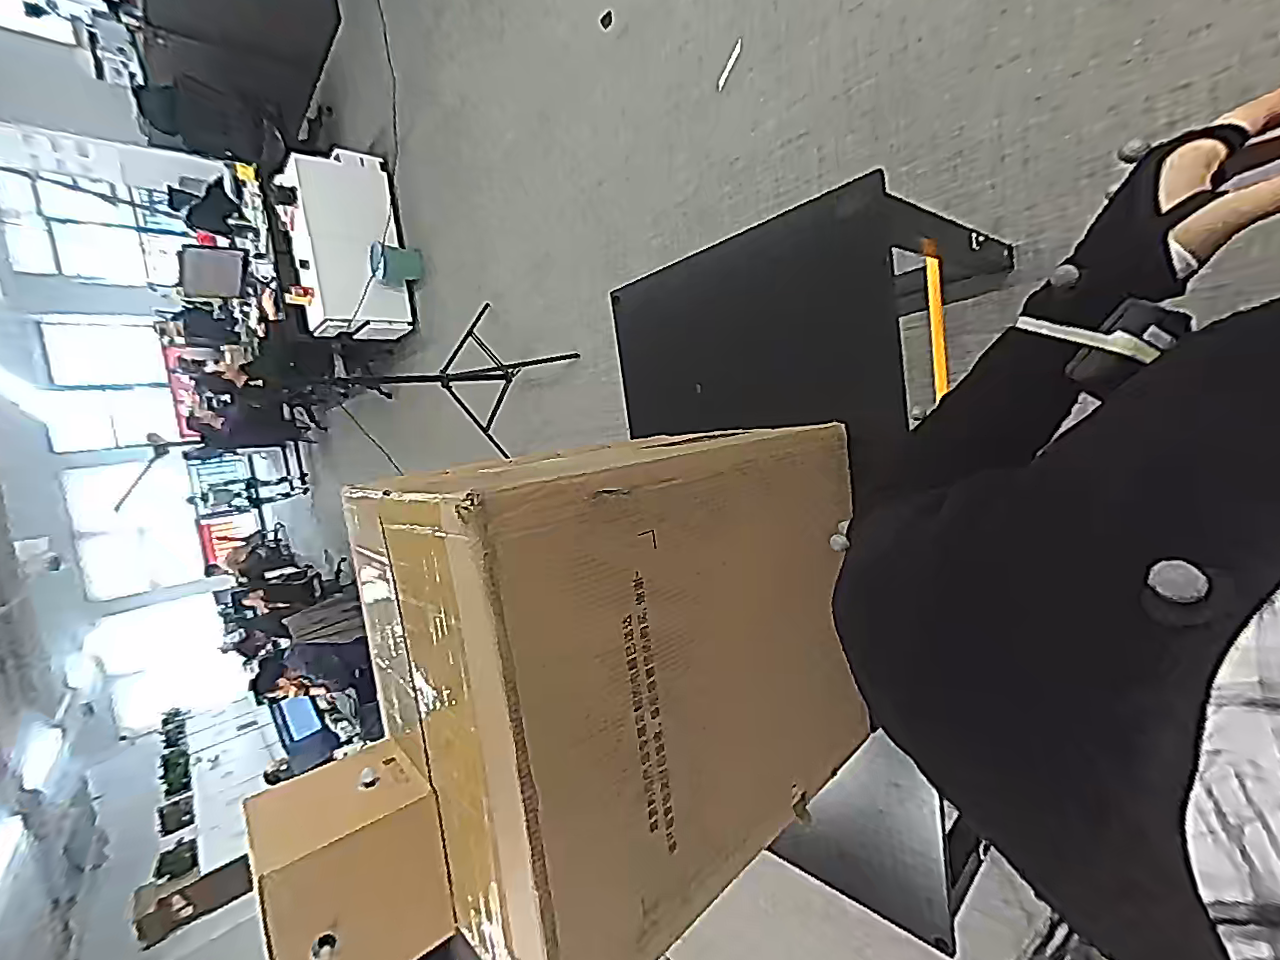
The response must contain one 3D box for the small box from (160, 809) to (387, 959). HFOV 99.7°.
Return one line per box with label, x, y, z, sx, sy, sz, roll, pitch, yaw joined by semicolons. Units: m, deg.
small box;-0.367;0.494;0.558;0.168;0.176;0.179;0;98;50
